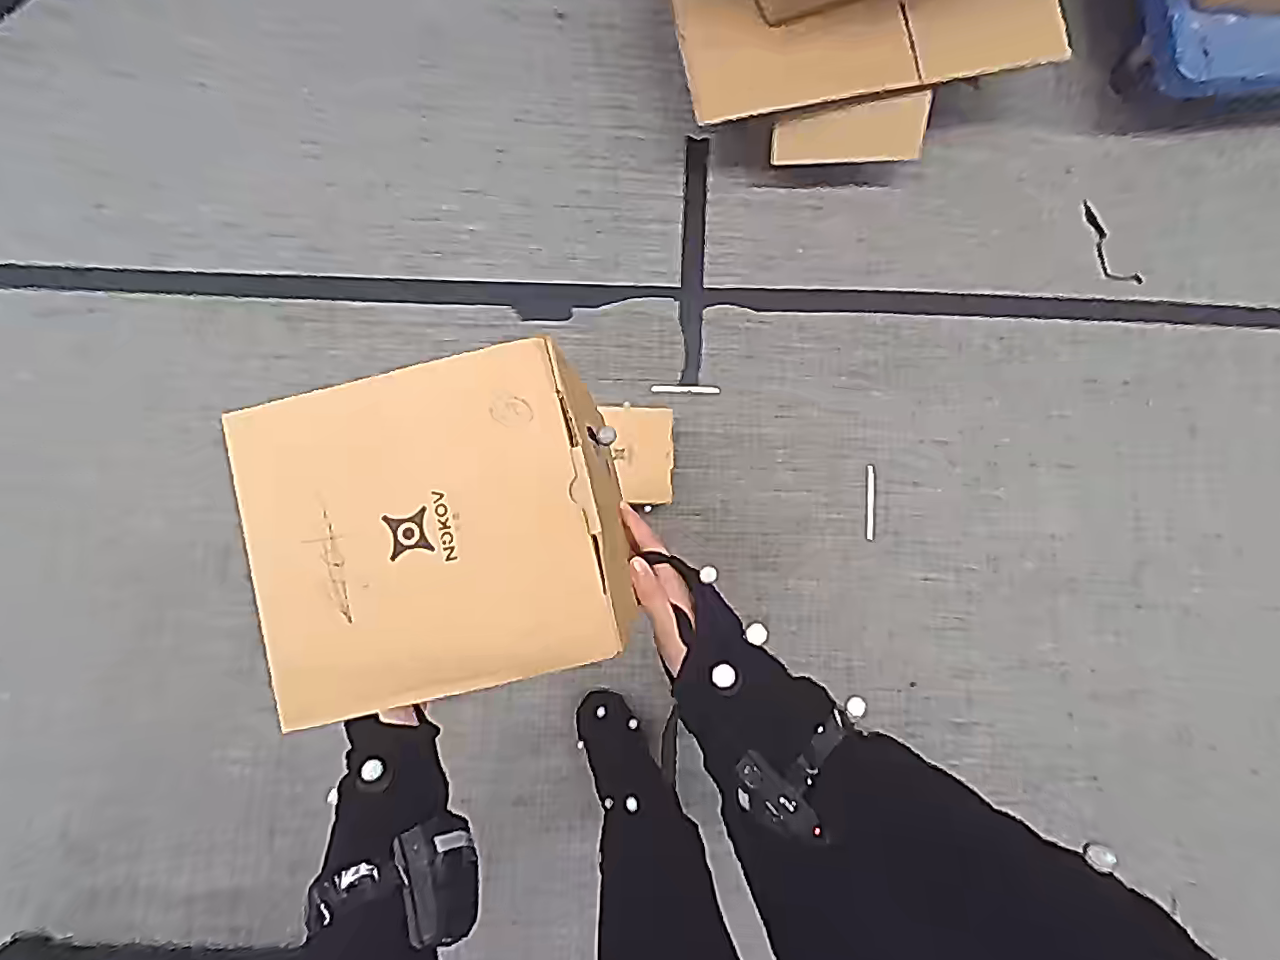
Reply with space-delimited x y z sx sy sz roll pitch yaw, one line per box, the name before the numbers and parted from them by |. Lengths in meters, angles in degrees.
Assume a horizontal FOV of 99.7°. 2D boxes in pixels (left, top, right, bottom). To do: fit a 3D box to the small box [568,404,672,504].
small box | -0.036 -0.041 0.991 0.179 0.176 0.168 1 87 -4
